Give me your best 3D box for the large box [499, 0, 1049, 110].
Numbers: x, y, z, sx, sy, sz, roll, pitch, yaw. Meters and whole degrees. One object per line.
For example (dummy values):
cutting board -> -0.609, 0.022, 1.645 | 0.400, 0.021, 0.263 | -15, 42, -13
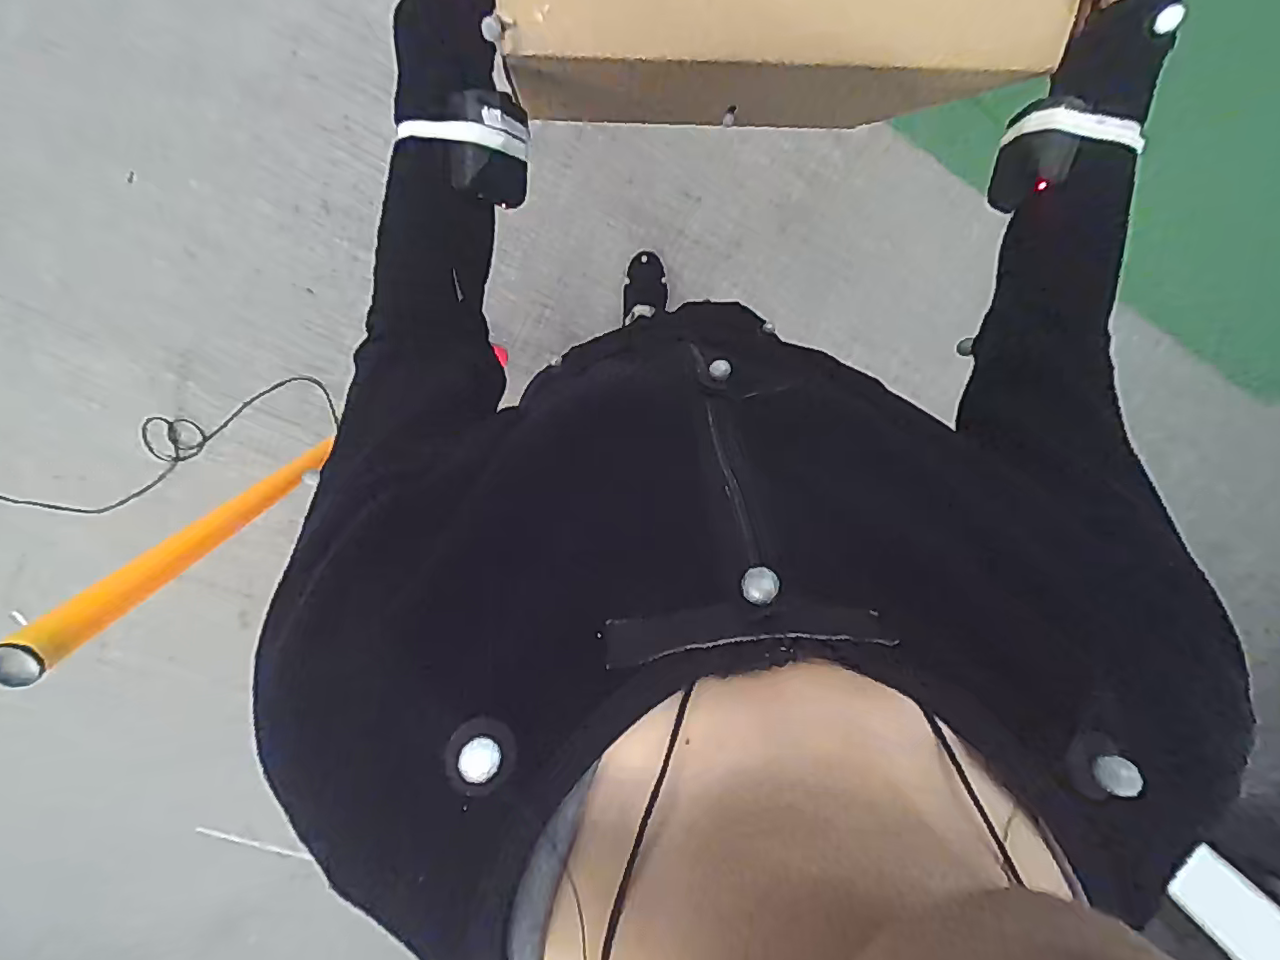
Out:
large box -> 0.086, -0.507, 0.450 | 0.408, 0.320, 0.320 | -3, 118, -6
